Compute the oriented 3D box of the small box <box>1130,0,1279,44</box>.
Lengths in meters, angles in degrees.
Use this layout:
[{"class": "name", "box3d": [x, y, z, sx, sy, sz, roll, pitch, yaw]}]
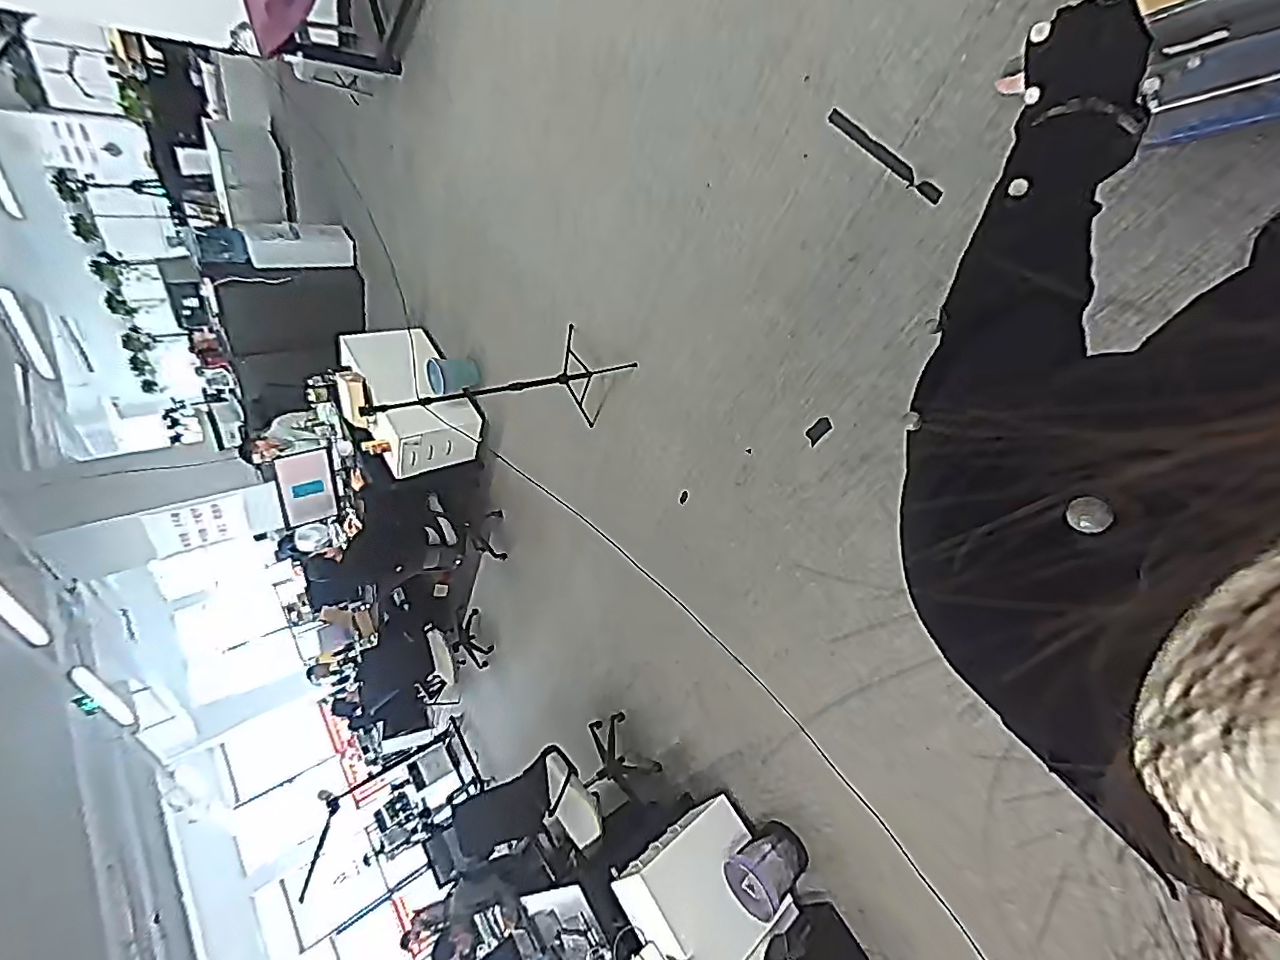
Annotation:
[{"class": "small box", "box3d": [0.816, -0.751, 0.756, 0.168, 0.176, 0.179, 7, 111, 49]}]
